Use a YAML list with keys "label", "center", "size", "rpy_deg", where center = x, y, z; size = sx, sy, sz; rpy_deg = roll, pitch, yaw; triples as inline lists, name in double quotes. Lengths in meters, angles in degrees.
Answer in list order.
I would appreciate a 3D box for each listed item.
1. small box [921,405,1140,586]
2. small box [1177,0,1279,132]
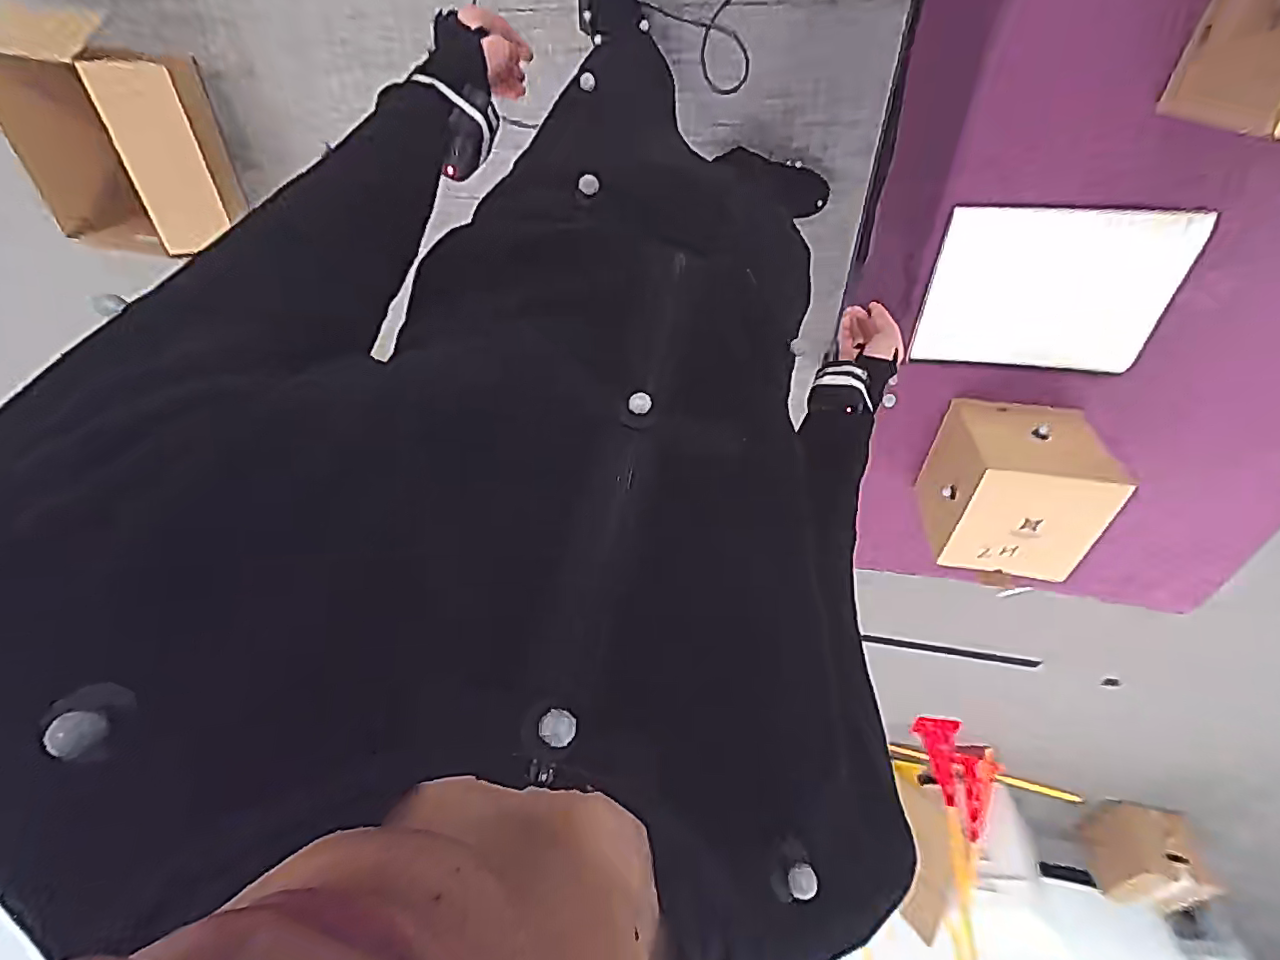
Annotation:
- label: "small box"
  center: [0.512, 0.016, 0.748]
  size: [0.168, 0.176, 0.179]
  rpy_deg: [8, 131, 8]
- label: "small box"
  center: [0.586, -0.364, 0.410]
  size: [0.179, 0.176, 0.168]
  rpy_deg: [7, 131, 8]
